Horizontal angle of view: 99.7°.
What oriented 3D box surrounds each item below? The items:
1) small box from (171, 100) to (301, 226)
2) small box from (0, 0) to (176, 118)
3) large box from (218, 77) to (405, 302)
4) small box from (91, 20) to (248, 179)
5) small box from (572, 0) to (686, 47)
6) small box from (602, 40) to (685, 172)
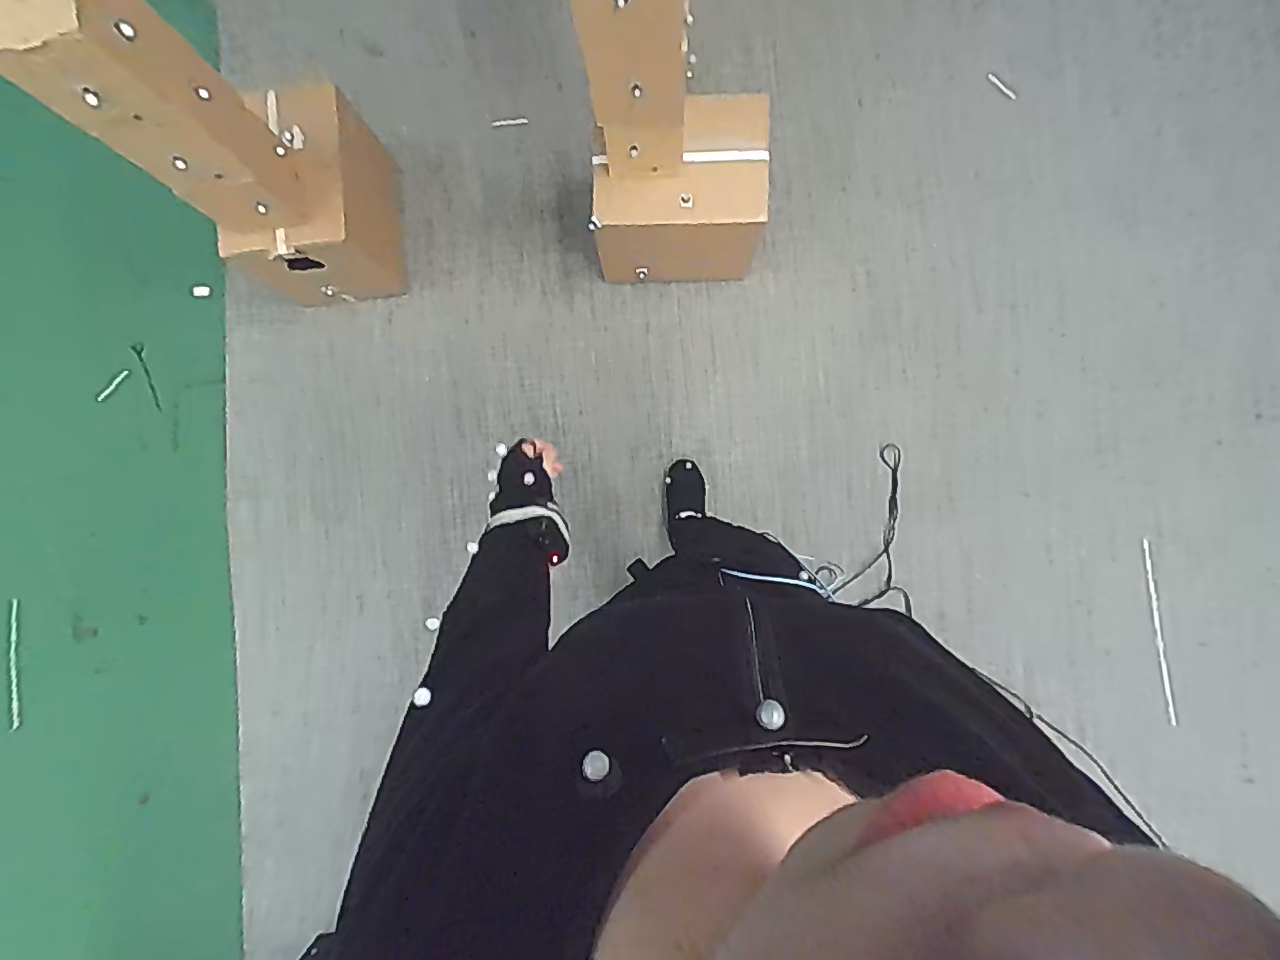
[{"bbox_3d":[-0.875,-0.684,1.184,0.179,0.176,0.168,-7,86,3],"label":"small box"},{"bbox_3d":[-0.887,-0.712,0.857,0.168,0.176,0.179,-9,86,2],"label":"small box"},{"bbox_3d":[-0.855,-0.740,1.431,0.320,0.320,0.408,-6,85,2],"label":"large box"},{"bbox_3d":[-0.882,-0.702,1.022,0.168,0.176,0.179,-11,85,1],"label":"small box"},{"bbox_3d":[-0.012,-0.809,0.829,0.179,0.176,0.168,5,85,4],"label":"small box"},{"bbox_3d":[0.011,-0.789,1.157,0.168,0.176,0.179,1,85,2],"label":"small box"}]
